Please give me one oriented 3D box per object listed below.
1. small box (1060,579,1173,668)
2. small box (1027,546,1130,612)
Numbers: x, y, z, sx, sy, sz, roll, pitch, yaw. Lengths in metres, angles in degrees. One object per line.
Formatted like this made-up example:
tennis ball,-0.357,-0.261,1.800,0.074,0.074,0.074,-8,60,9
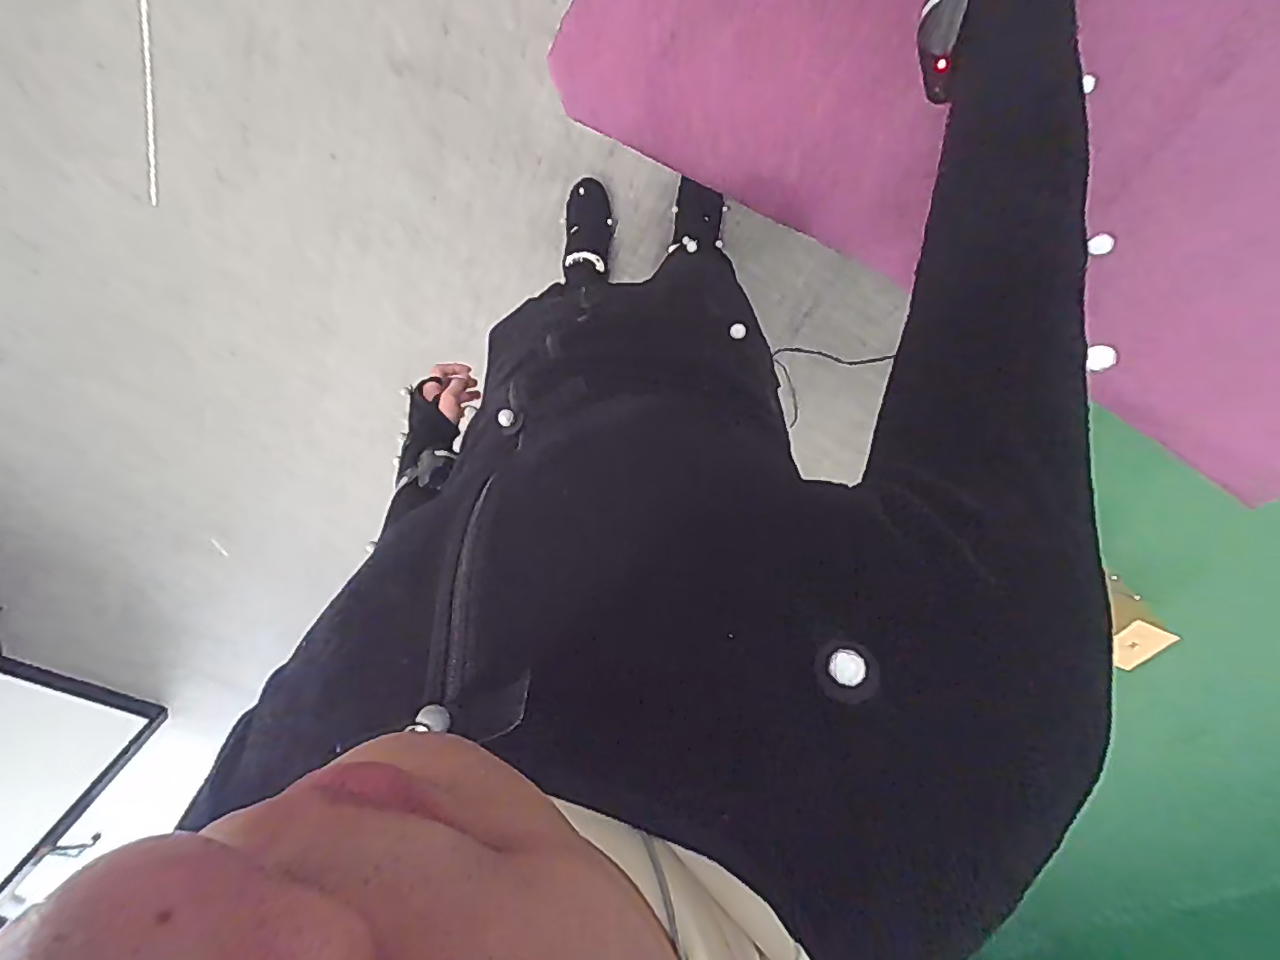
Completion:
small box,1.456,0.441,1.673,0.168,0.176,0.179,22,122,-11
small box,1.455,0.345,1.805,0.179,0.176,0.168,23,123,-10
